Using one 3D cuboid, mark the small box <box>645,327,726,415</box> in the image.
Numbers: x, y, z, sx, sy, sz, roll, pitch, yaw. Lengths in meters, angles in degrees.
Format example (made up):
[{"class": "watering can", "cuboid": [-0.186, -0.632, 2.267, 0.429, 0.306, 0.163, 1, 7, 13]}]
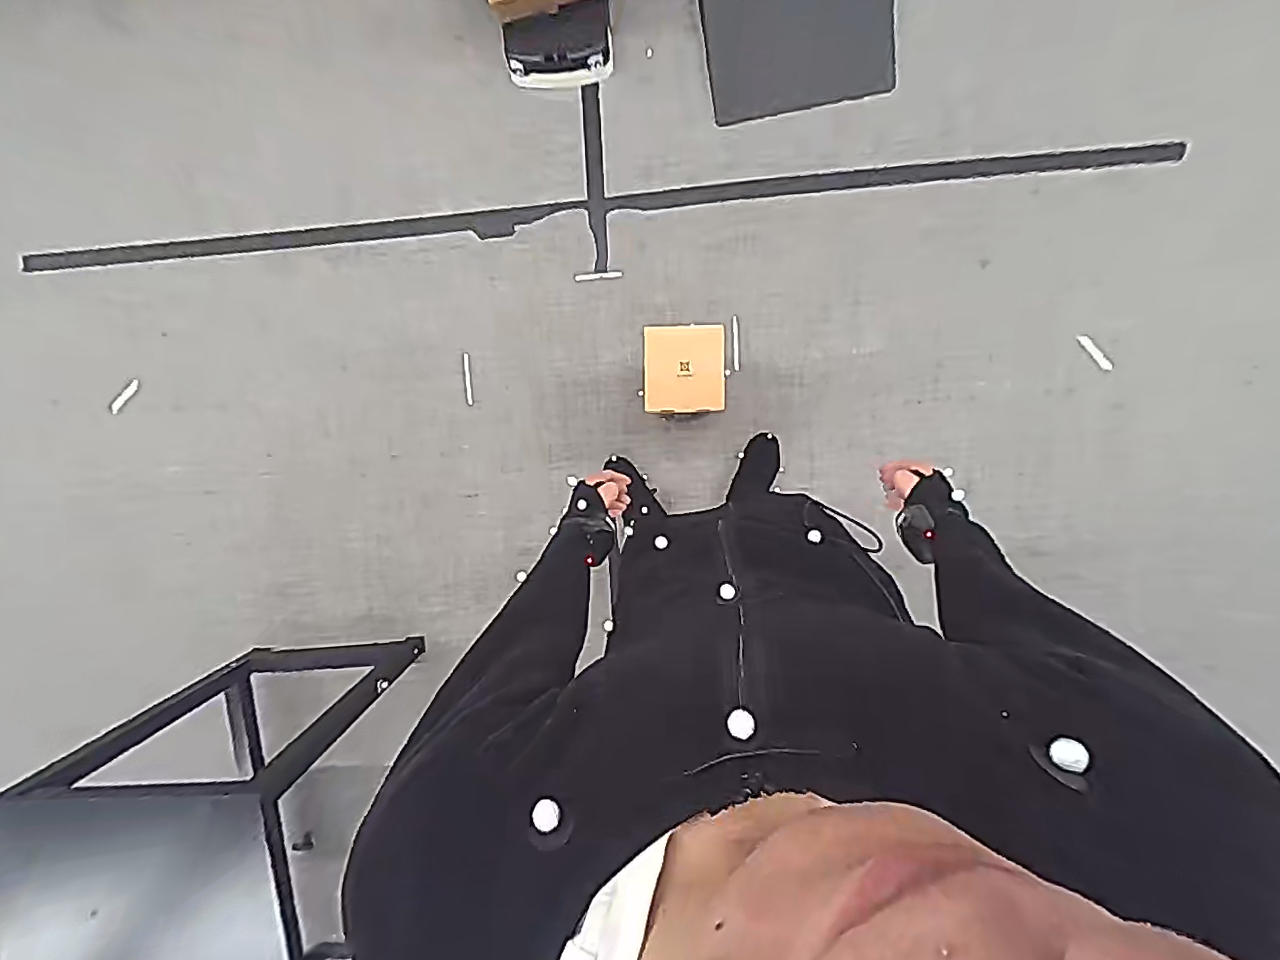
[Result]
[{"class": "small box", "cuboid": [0.094, -0.232, 1.181, 0.168, 0.176, 0.179, -1, 97, 2]}]
